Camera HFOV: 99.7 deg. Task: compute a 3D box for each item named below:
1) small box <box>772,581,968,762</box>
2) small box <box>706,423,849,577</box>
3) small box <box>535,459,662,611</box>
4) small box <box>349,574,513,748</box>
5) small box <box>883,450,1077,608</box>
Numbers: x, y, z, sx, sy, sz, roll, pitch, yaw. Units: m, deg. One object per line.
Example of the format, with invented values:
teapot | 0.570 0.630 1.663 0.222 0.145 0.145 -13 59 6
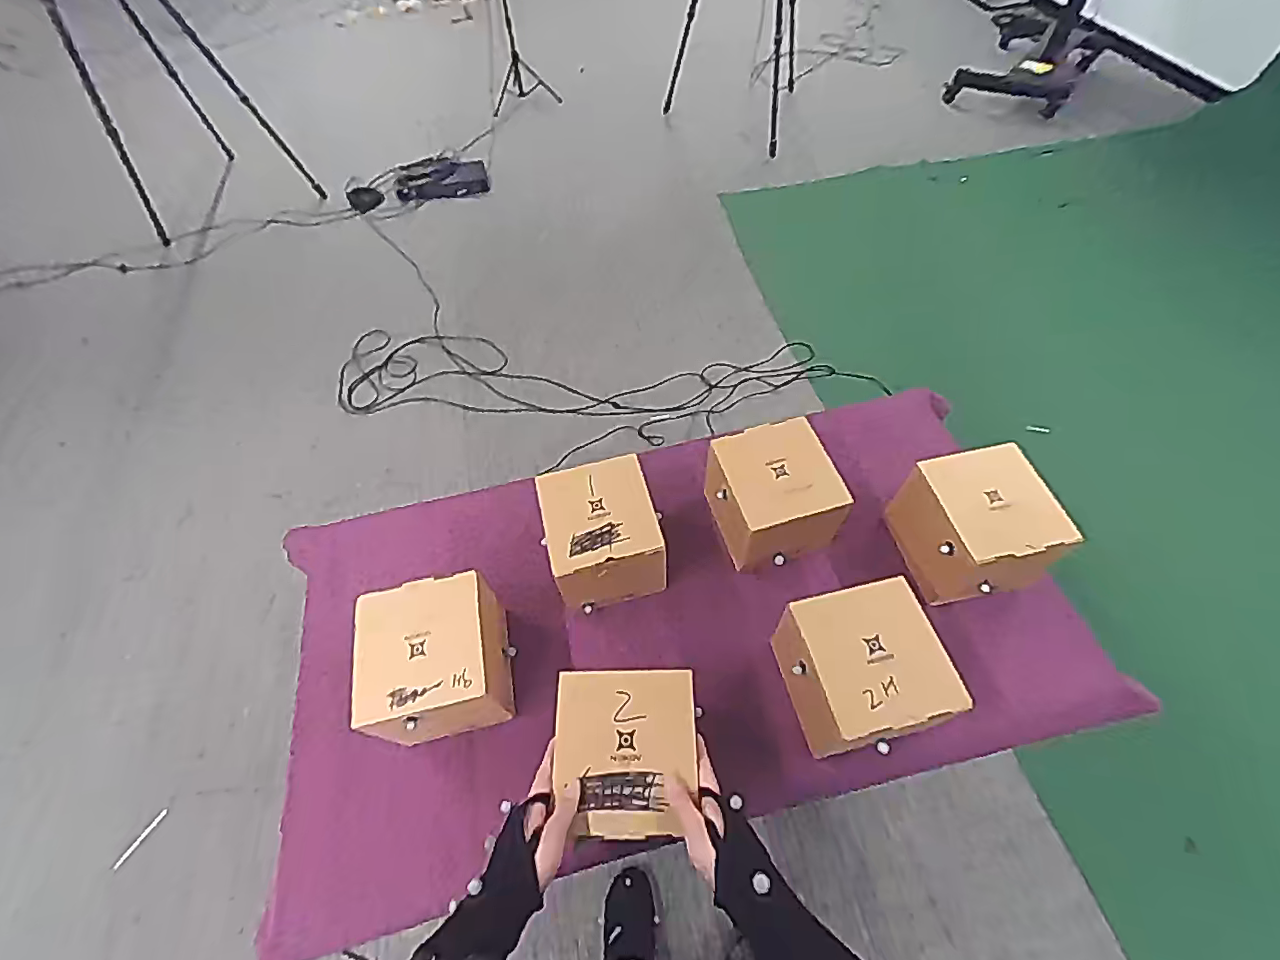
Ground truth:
small box | 0.295 0.266 0.745 0.168 0.176 0.179 -12 56 -5
small box | 0.214 0.037 0.905 0.168 0.176 0.179 -15 58 -6
small box | -0.062 0.097 0.874 0.168 0.176 0.179 -14 56 -7
small box | -0.287 0.262 0.772 0.168 0.176 0.179 -13 56 -5
small box | 0.519 0.081 0.862 0.168 0.176 0.179 -11 57 -4
